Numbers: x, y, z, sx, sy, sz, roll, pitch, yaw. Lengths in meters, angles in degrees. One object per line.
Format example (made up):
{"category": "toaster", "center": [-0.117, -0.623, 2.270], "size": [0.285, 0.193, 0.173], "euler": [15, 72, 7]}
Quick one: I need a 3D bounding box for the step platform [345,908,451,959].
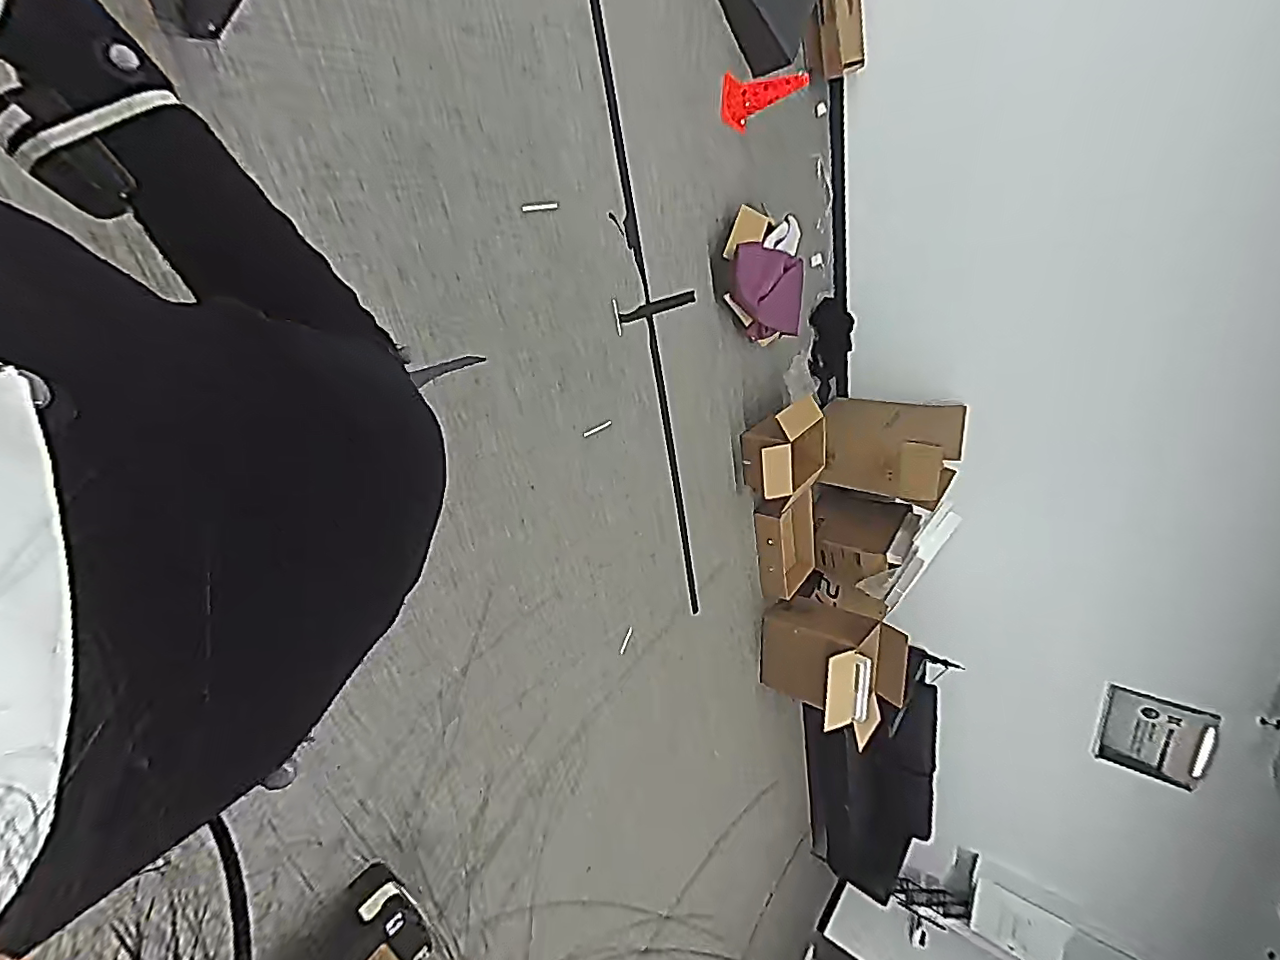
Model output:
{"category": "step platform", "center": [-0.797, 1.478, 1.338], "size": [0.684, 0.204, 0.286], "euler": [-35, 124, -39]}
